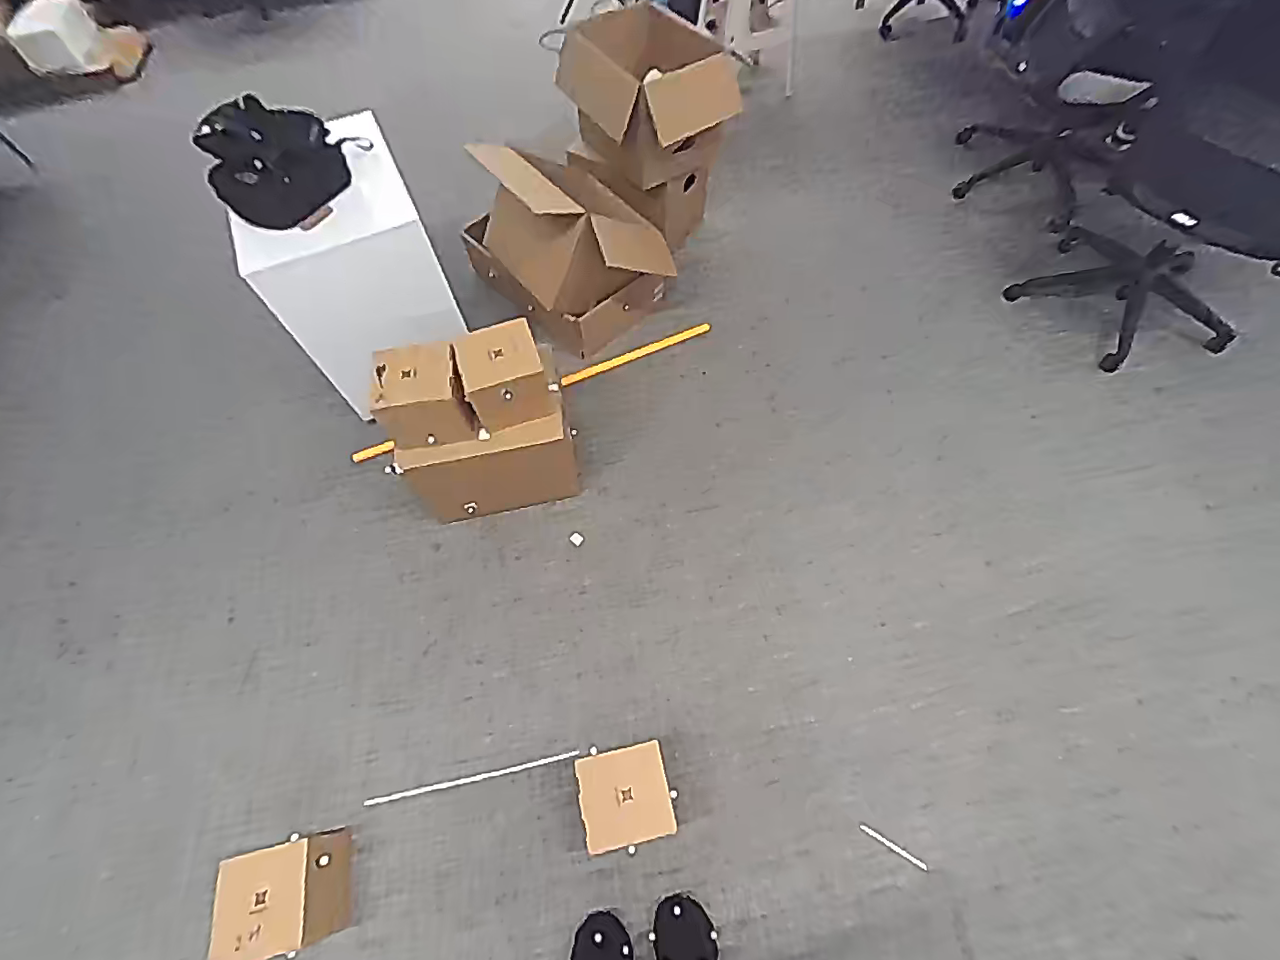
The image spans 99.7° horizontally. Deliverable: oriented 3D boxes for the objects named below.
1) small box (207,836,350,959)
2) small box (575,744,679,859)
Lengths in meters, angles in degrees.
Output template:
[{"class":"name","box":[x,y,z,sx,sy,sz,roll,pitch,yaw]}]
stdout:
[{"class":"small box","box":[-0.690,0.814,1.054,0.168,0.176,0.179,-13,61,-4]},{"class":"small box","box":[-0.026,0.654,1.115,0.179,0.176,0.168,-13,62,-4]}]
